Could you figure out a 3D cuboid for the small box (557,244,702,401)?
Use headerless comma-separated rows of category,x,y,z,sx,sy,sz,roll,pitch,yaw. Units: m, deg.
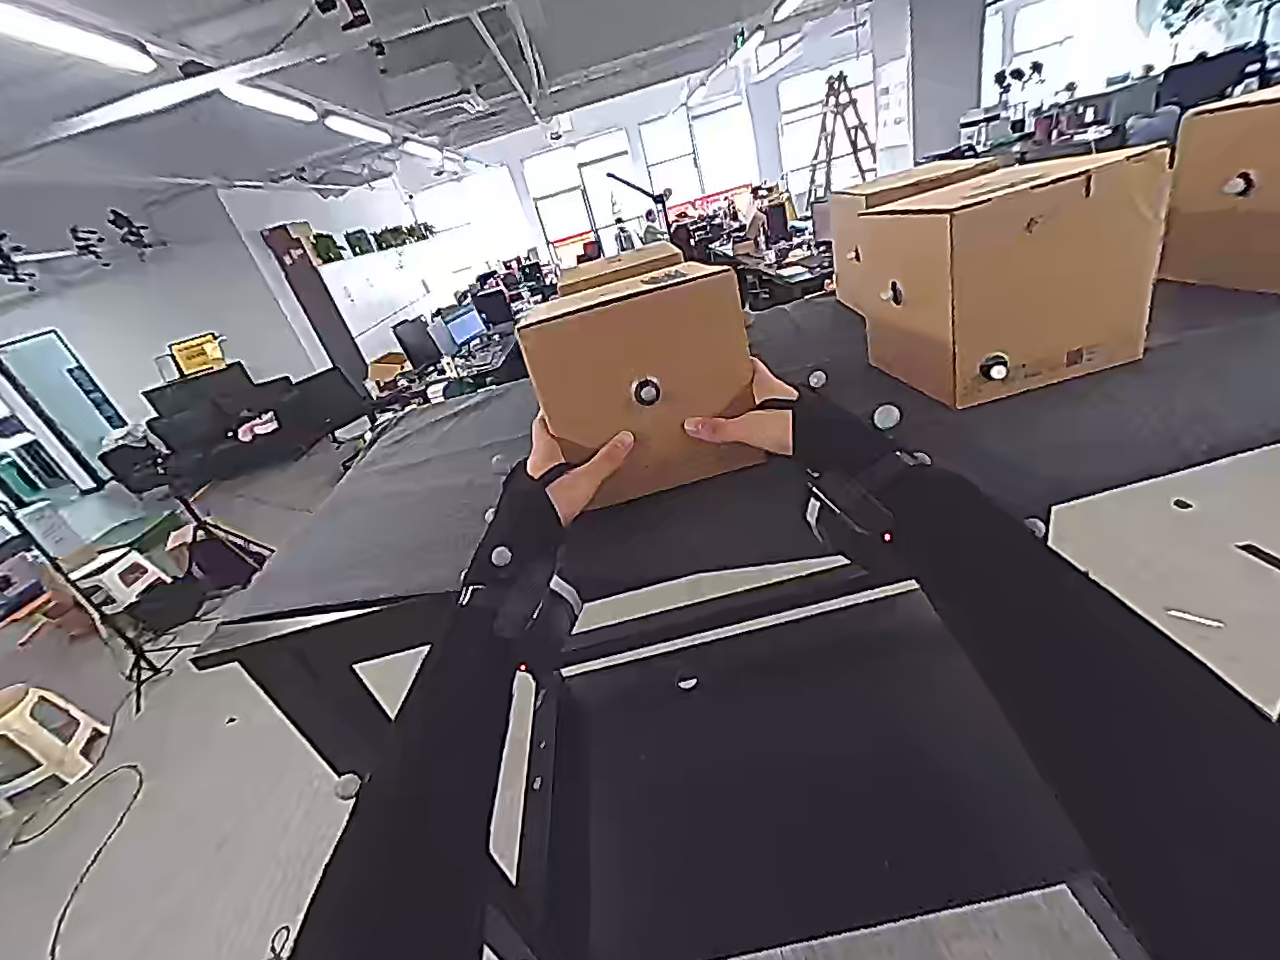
small box,-0.014,-0.228,0.790,0.168,0.176,0.179,-15,28,2

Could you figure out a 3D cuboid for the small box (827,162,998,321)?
small box,0.383,-0.339,0.781,0.168,0.176,0.179,-12,27,7

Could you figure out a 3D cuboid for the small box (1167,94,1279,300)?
small box,0.657,-0.277,0.505,0.168,0.176,0.179,-16,26,3

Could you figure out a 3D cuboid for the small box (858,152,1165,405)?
small box,0.330,-0.184,0.514,0.168,0.176,0.179,-15,25,3
